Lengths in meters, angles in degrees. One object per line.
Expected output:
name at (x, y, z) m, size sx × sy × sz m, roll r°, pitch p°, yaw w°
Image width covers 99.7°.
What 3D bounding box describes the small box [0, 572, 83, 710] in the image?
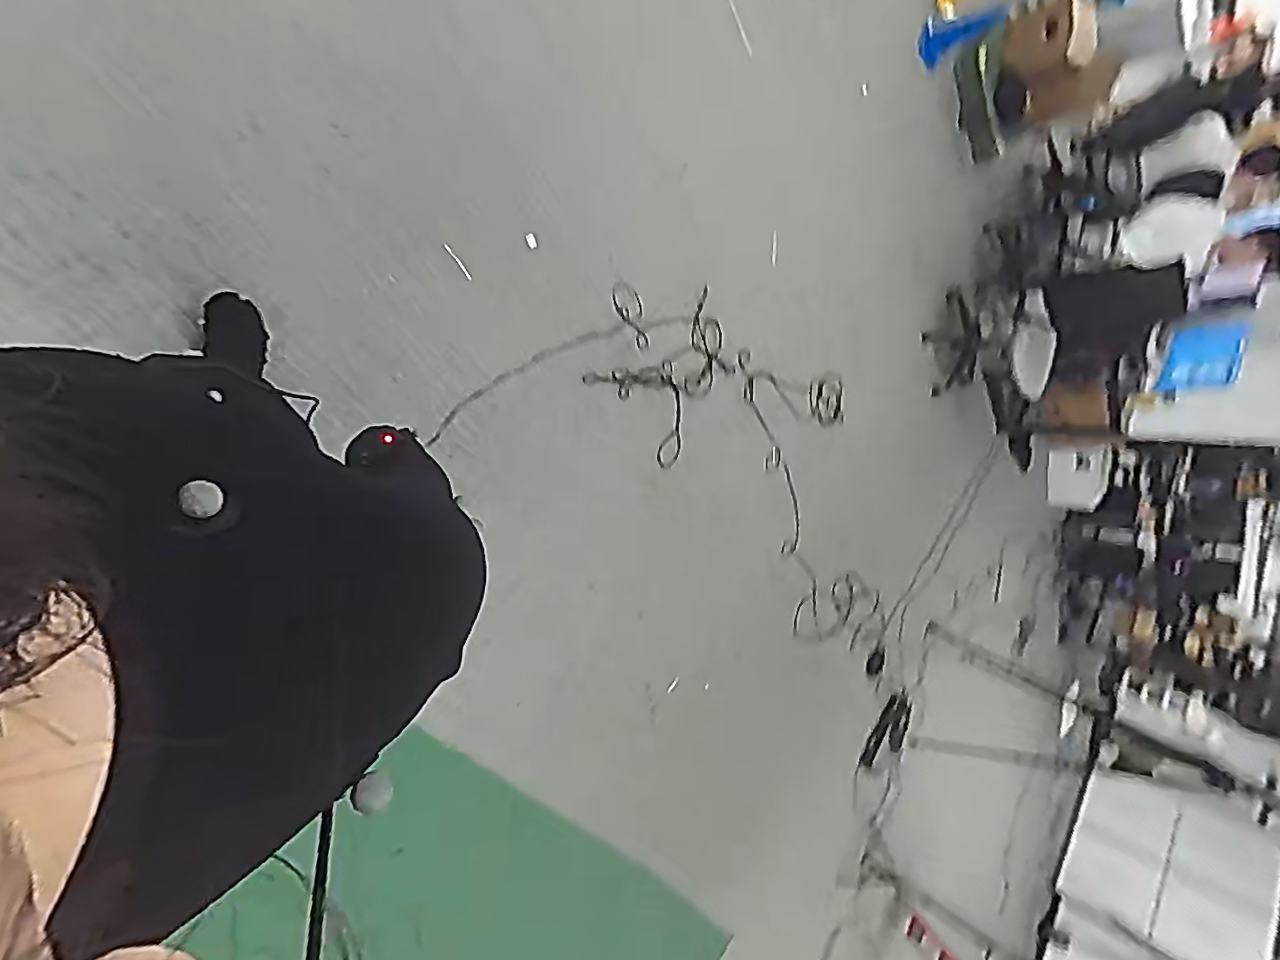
small box at (-1.173, 0.292, 0.979) m, size 0.179 × 0.176 × 0.168 m, roll -52°, pitch 126°, yaw -20°
